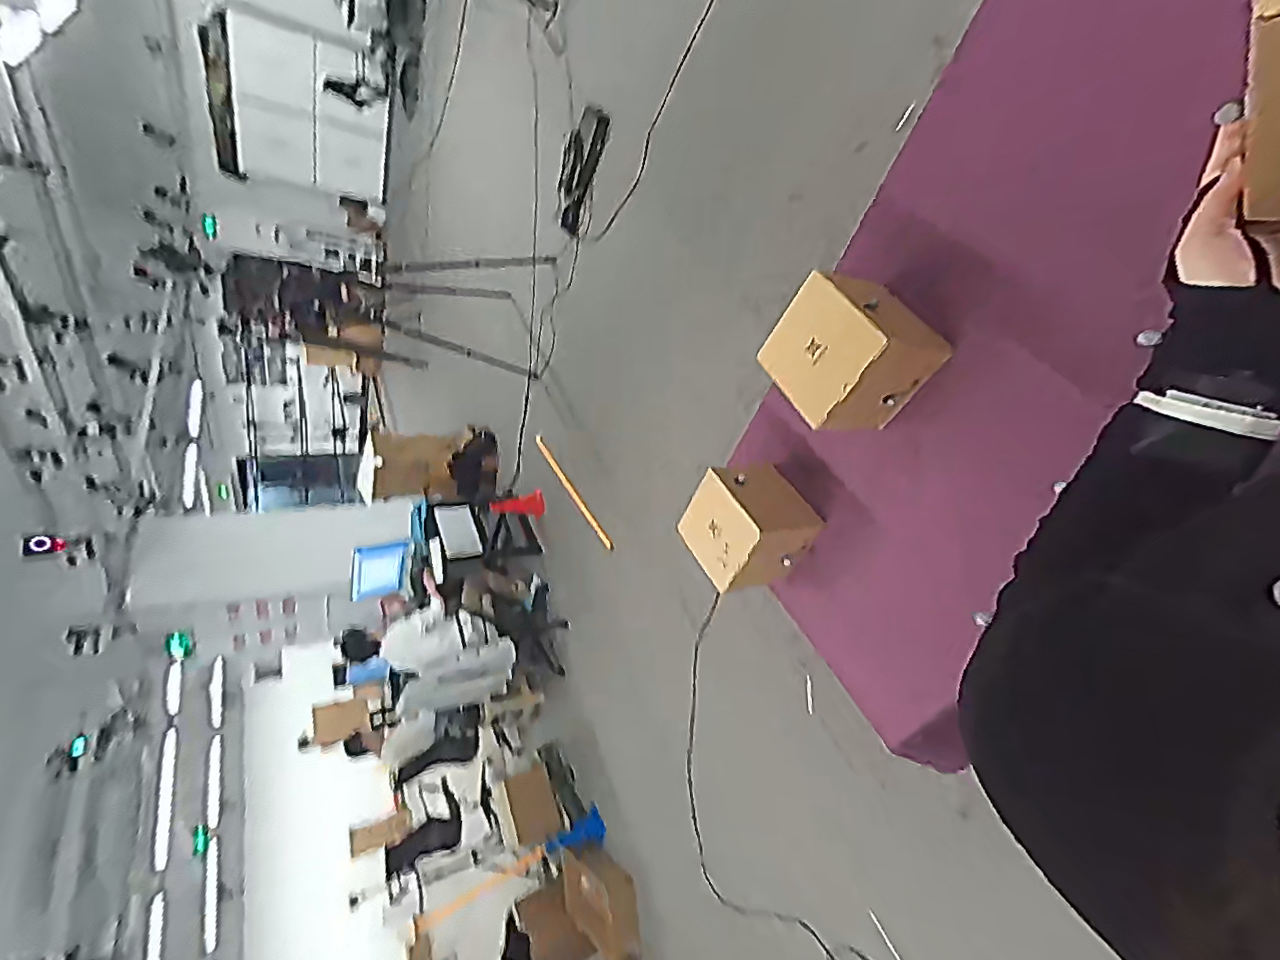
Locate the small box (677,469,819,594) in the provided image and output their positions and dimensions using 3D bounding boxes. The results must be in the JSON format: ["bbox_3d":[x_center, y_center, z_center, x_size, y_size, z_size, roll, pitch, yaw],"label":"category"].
[{"bbox_3d":[0.206,0.094,1.049,0.179,0.176,0.168,57,136,37],"label":"small box"}]

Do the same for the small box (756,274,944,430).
[{"bbox_3d":[0.325,-0.193,0.852,0.179,0.176,0.168,62,139,31],"label":"small box"}]
